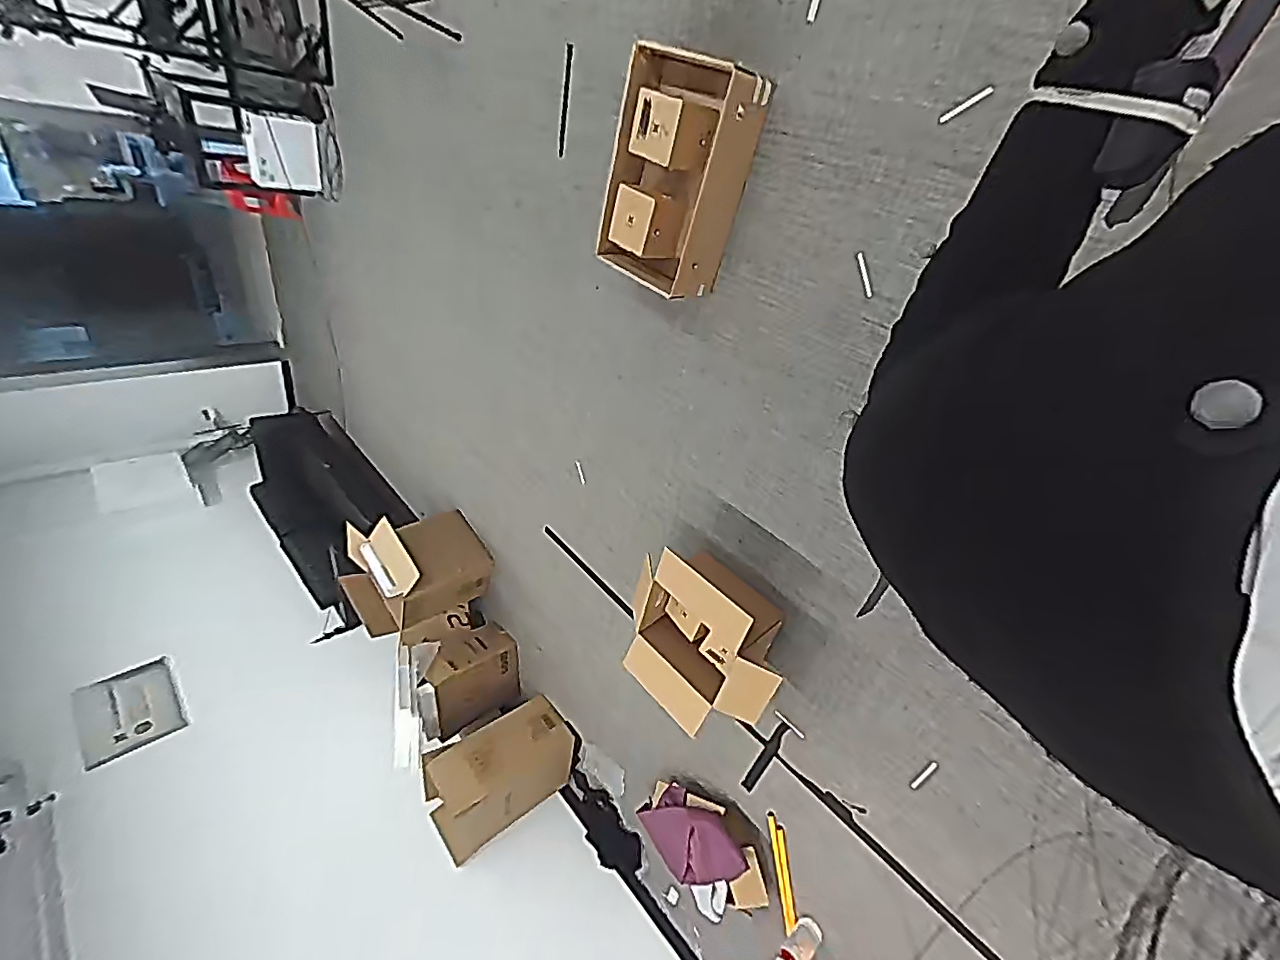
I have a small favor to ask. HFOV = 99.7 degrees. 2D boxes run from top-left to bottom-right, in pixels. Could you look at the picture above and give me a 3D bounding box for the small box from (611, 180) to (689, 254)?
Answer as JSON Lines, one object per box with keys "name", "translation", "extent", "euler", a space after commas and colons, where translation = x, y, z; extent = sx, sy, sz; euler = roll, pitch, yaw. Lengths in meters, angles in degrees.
{"name": "small box", "translation": [0.033, -0.854, 1.766], "extent": [0.168, 0.176, 0.179], "euler": [40, 130, 27]}
